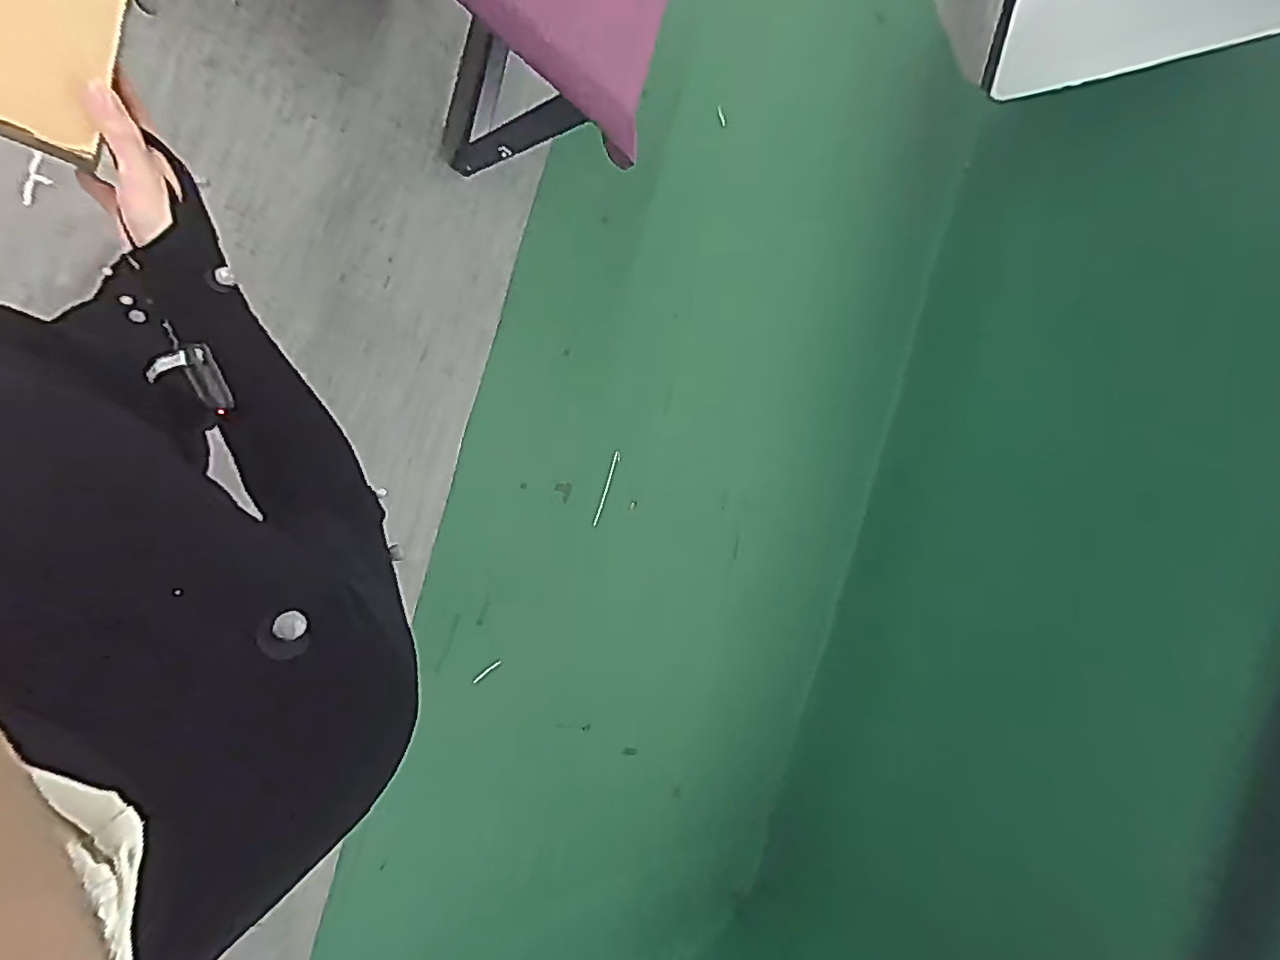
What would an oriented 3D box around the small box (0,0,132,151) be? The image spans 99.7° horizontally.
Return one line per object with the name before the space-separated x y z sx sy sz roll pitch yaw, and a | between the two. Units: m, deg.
small box | -0.468 -0.358 0.369 0.168 0.176 0.179 12 101 -48
